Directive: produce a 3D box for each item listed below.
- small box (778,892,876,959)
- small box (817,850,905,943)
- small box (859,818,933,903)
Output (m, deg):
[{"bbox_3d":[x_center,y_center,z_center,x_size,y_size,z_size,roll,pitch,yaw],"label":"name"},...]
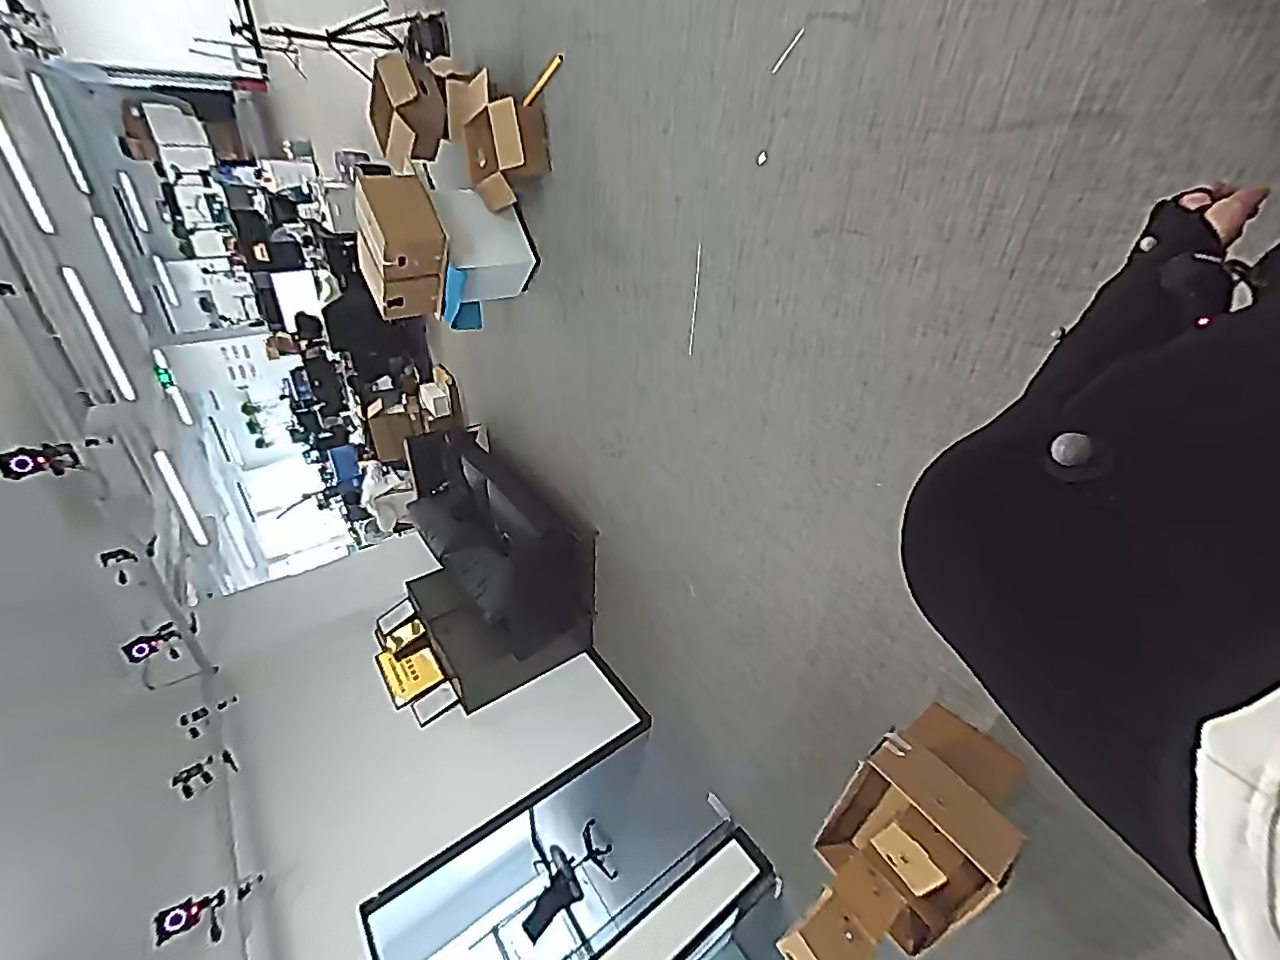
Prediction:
[{"bbox_3d":[0.527,1.313,1.521,0.168,0.176,0.179,46,138,33],"label":"small box"},{"bbox_3d":[0.655,1.263,1.611,0.168,0.176,0.179,38,134,40],"label":"small box"},{"bbox_3d":[0.783,1.220,1.701,0.168,0.176,0.179,38,135,39],"label":"small box"}]
